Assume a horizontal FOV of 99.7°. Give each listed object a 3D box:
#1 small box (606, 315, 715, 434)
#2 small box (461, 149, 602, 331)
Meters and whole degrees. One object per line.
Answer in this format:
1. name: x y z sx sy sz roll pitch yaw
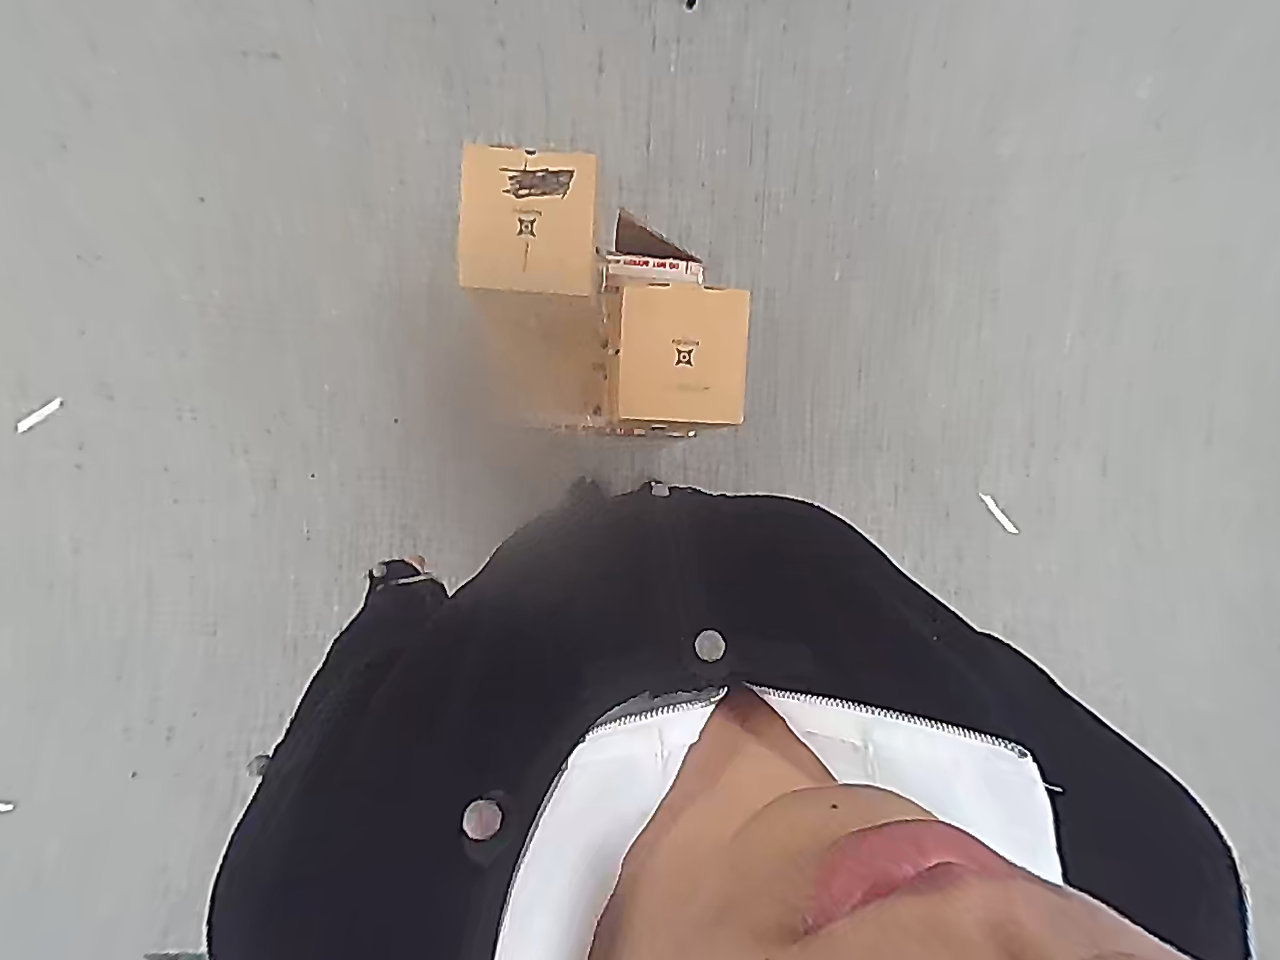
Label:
1. small box: 0.028 -0.171 0.933 0.168 0.176 0.179 3 92 -5
2. small box: -0.140 -0.319 0.750 0.168 0.176 0.179 3 93 -3
